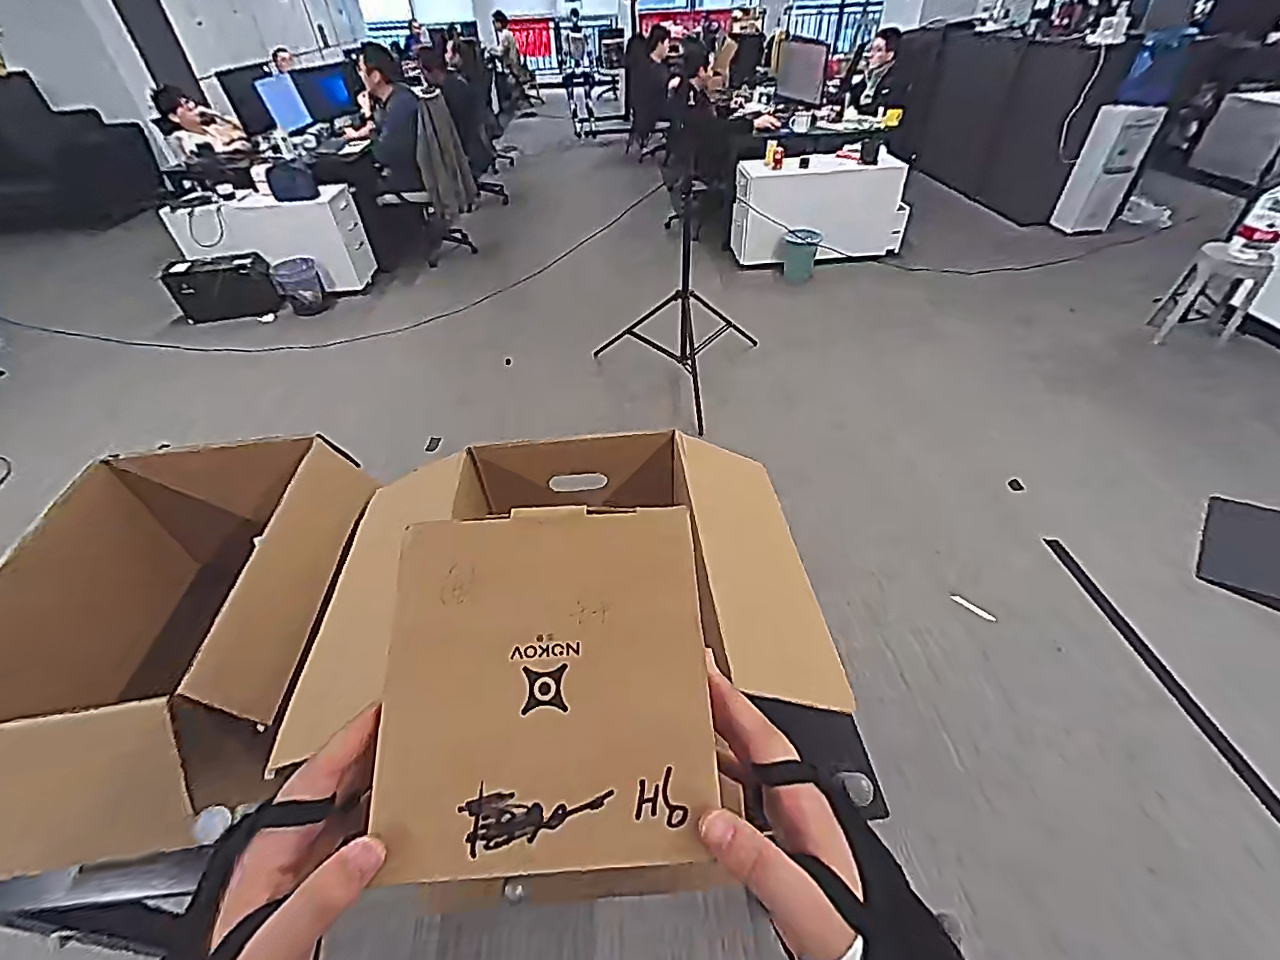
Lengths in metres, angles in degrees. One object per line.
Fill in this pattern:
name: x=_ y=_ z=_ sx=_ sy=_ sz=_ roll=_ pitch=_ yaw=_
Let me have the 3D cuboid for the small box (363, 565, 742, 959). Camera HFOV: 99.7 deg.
small box: x=-0.042 y=0.165 z=0.339 sx=0.168 sy=0.176 sz=0.179 roll=-3 pitch=64 yaw=-2
